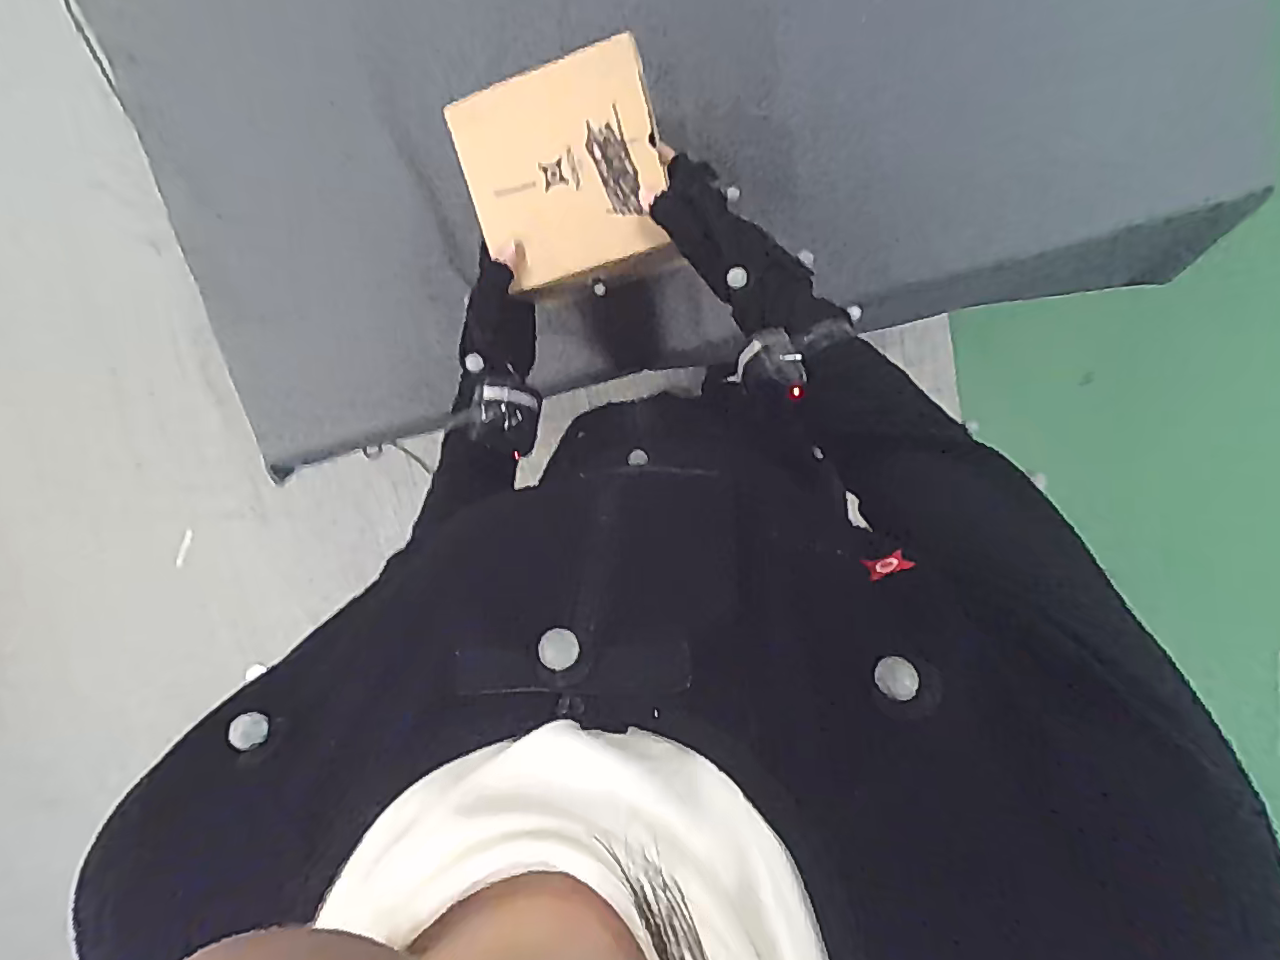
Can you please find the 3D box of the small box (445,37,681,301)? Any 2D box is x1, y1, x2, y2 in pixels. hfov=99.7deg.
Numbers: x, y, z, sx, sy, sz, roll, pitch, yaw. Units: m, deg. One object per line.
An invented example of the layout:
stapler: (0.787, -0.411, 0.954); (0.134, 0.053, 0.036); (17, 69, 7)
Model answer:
small box: (-0.059, -0.290, 0.552); (0.179, 0.176, 0.168); (-14, 102, 12)
